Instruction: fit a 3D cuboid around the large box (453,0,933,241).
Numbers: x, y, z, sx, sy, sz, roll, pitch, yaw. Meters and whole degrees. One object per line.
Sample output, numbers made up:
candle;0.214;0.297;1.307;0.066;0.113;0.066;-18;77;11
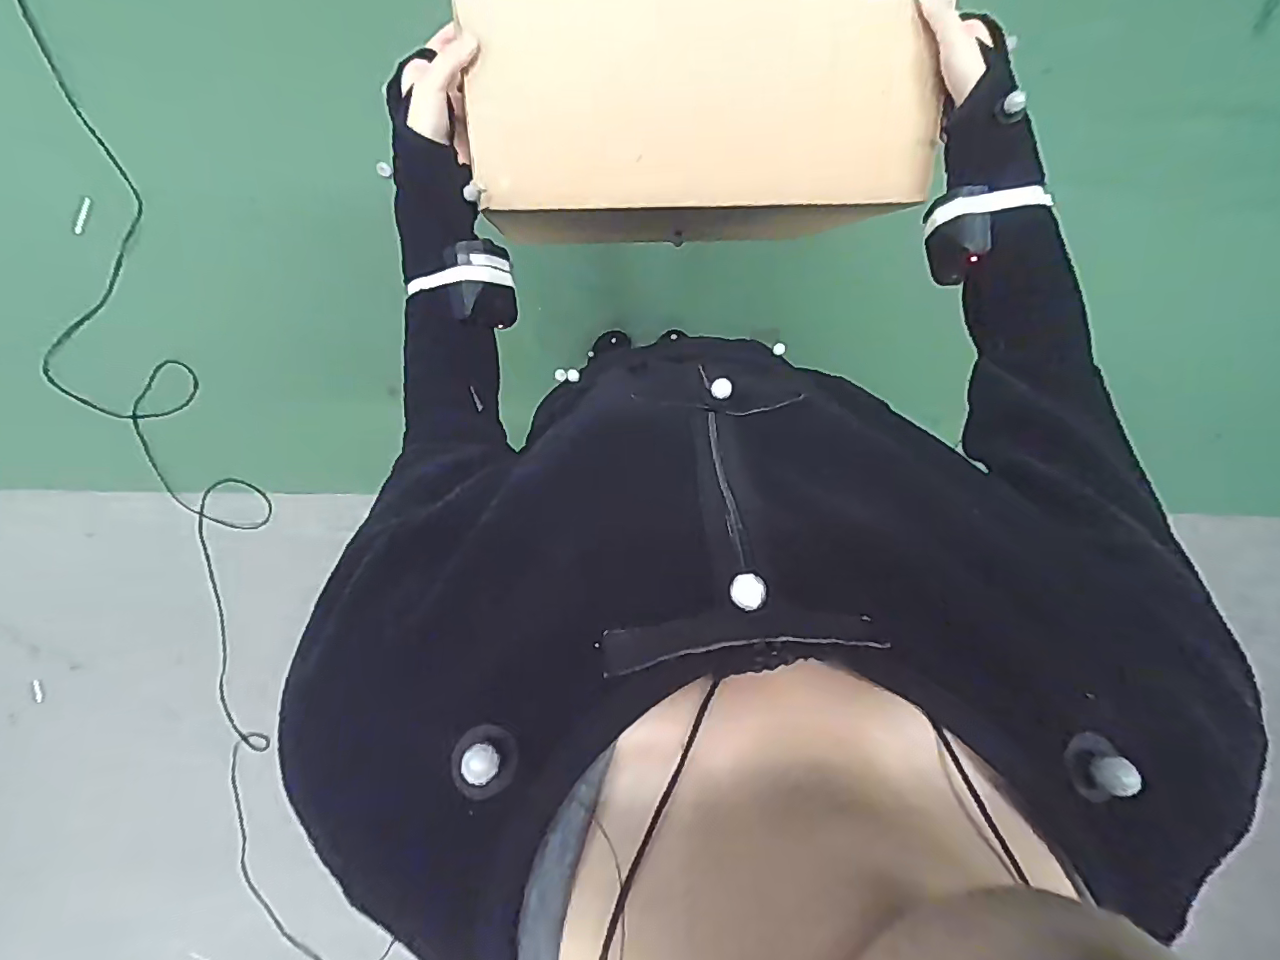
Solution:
large box;0.036;-0.438;0.575;0.408;0.320;0.320;-4;108;-5
